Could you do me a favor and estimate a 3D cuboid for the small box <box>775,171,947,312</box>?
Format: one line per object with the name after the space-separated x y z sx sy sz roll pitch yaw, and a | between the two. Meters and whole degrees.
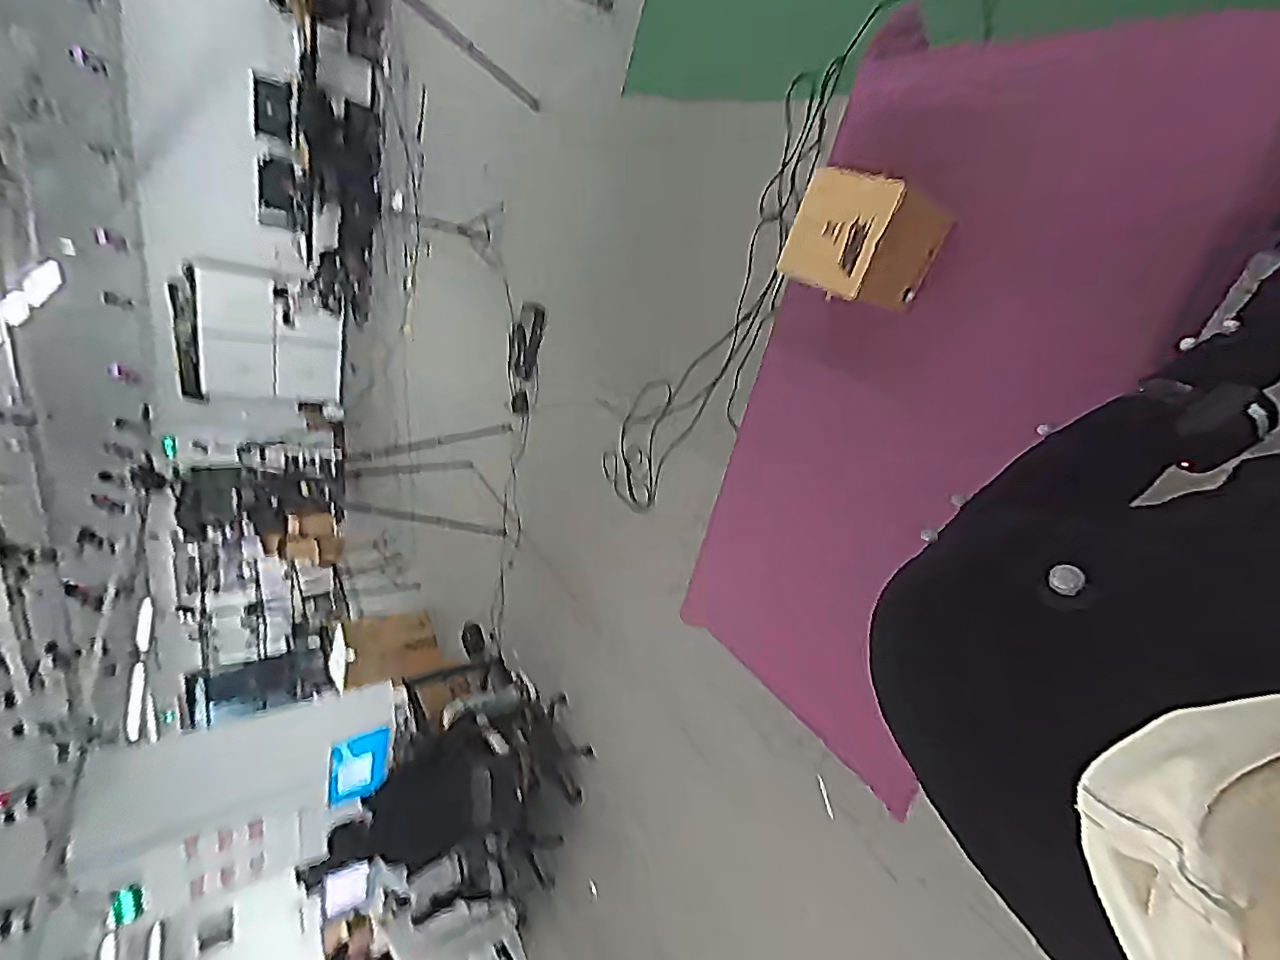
0.369 -0.391 0.905 0.179 0.176 0.168 45 126 41 | small box
